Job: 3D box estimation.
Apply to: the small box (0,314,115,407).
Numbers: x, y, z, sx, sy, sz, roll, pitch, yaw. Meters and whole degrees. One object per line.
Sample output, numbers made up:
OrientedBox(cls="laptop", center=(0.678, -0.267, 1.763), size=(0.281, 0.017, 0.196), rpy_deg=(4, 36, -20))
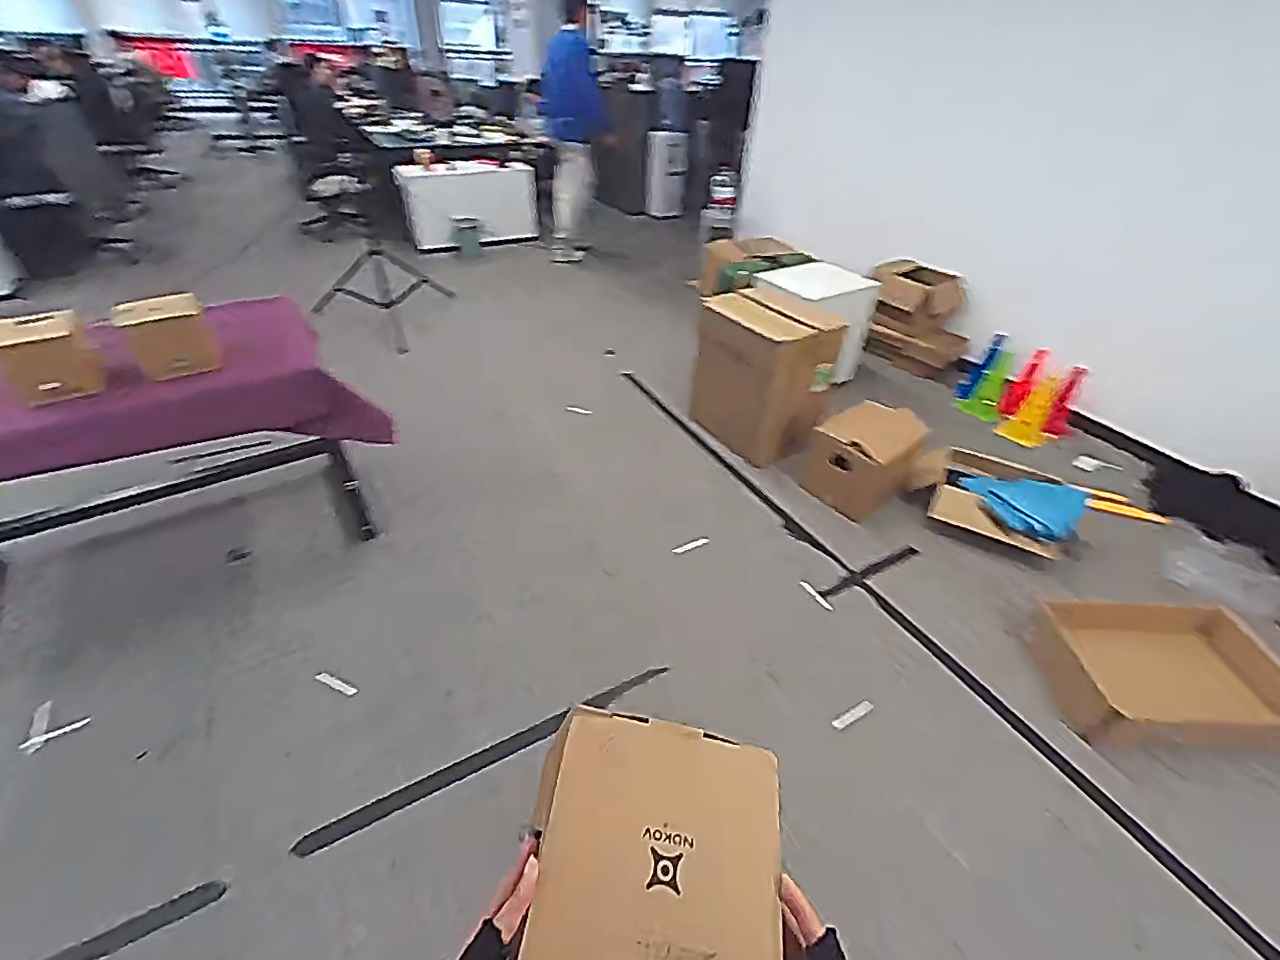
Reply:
OrientedBox(cls="small box", center=(-1.536, -0.316, 1.427), size=(0.168, 0.176, 0.179), rpy_deg=(-23, 47, -28))

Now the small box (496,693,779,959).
OrientedBox(cls="small box", center=(-0.007, 0.295, 0.417), size=(0.168, 0.176, 0.179), rpy_deg=(15, 48, -6))

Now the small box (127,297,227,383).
OrientedBox(cls="small box", center=(-1.317, -0.401, 1.547), size=(0.179, 0.176, 0.168), rpy_deg=(-23, 45, -28))
